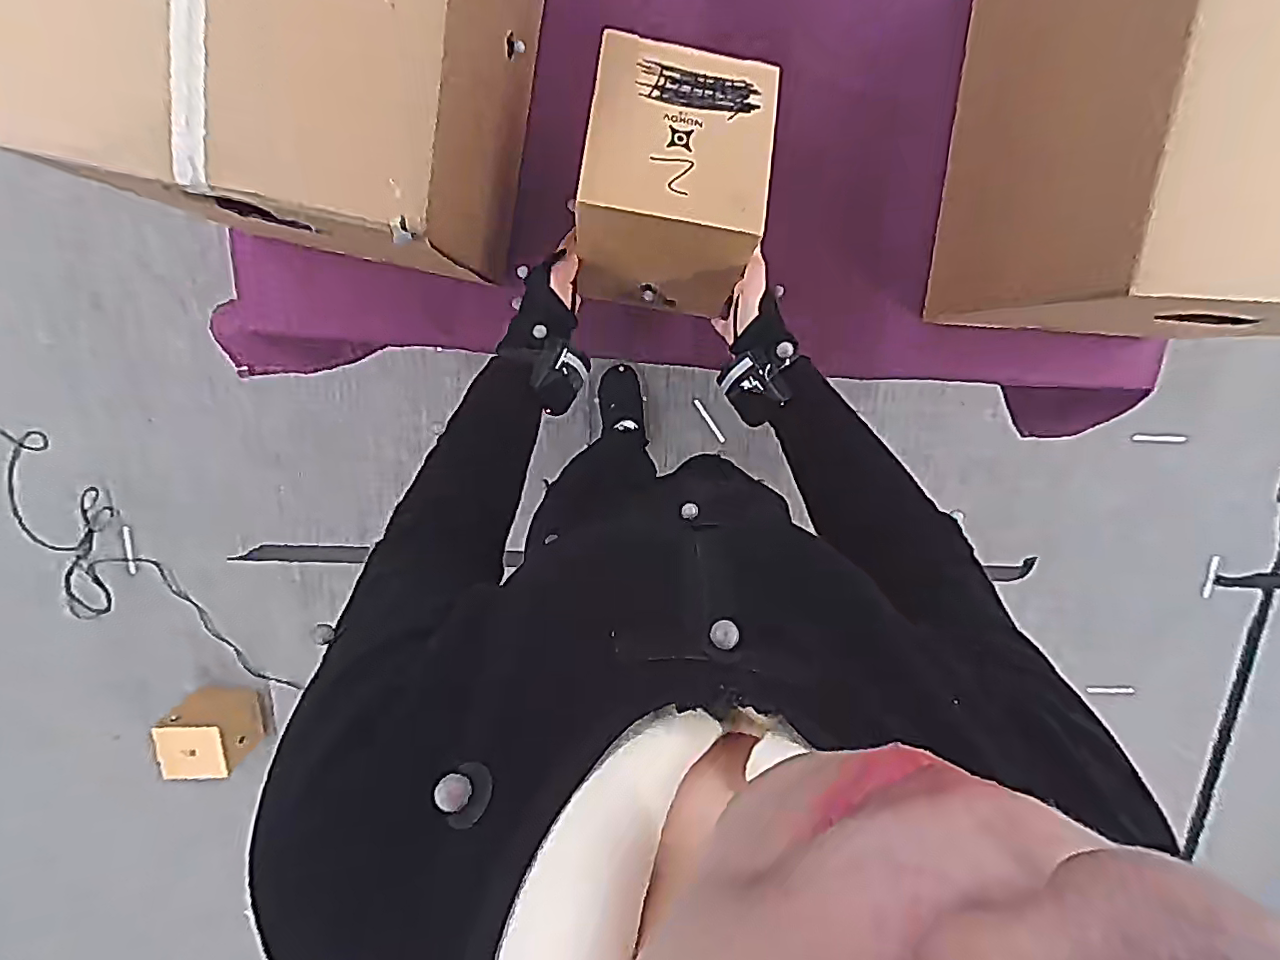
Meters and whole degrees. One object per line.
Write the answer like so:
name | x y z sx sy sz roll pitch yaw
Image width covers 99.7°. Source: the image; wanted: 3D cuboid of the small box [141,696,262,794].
small box | -1.215 0.733 1.496 0.168 0.176 0.179 4 123 16
